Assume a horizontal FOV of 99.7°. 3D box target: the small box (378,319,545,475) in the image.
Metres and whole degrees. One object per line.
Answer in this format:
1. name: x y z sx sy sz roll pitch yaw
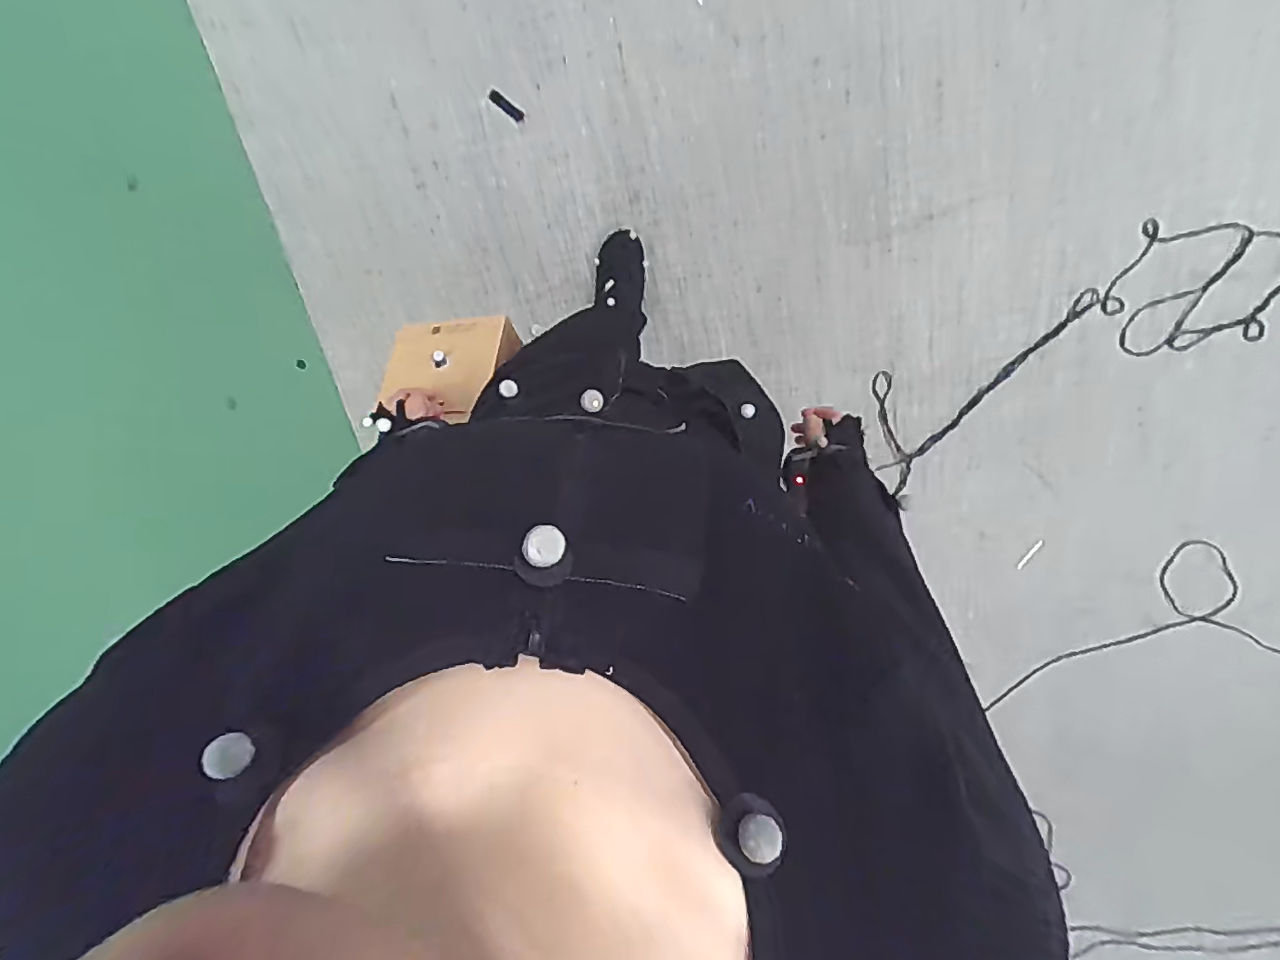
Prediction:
1. small box: -0.254 -0.125 0.813 0.168 0.176 0.179 -2 153 10
